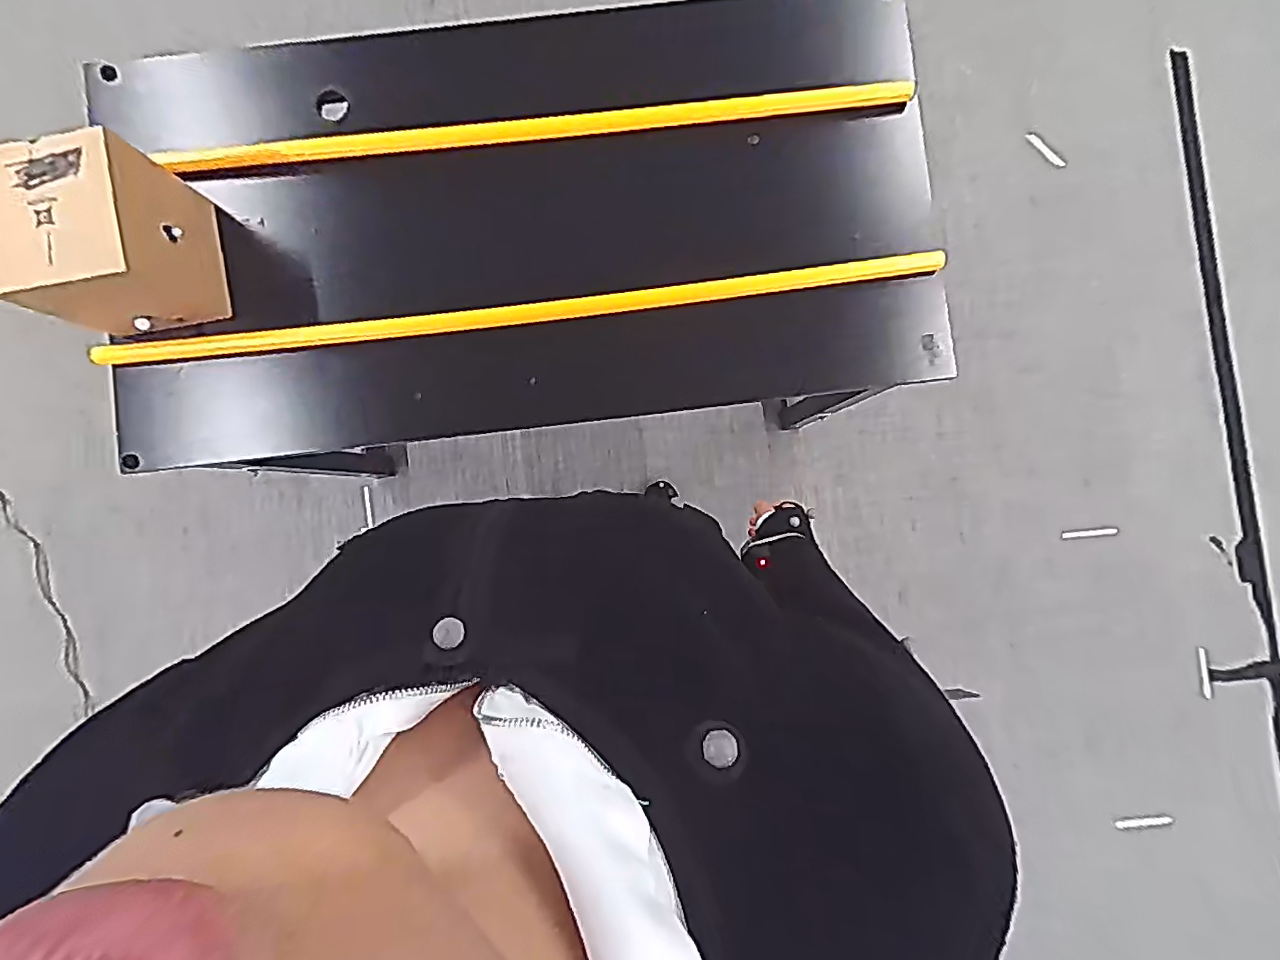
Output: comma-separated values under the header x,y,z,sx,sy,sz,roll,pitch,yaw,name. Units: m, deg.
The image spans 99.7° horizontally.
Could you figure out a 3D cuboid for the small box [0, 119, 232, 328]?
x,y,z,sx,sy,sz,roll,pitch,yaw,name
-0.676,-0.316,0.698,0.168,0.176,0.179,-10,89,-1,small box
